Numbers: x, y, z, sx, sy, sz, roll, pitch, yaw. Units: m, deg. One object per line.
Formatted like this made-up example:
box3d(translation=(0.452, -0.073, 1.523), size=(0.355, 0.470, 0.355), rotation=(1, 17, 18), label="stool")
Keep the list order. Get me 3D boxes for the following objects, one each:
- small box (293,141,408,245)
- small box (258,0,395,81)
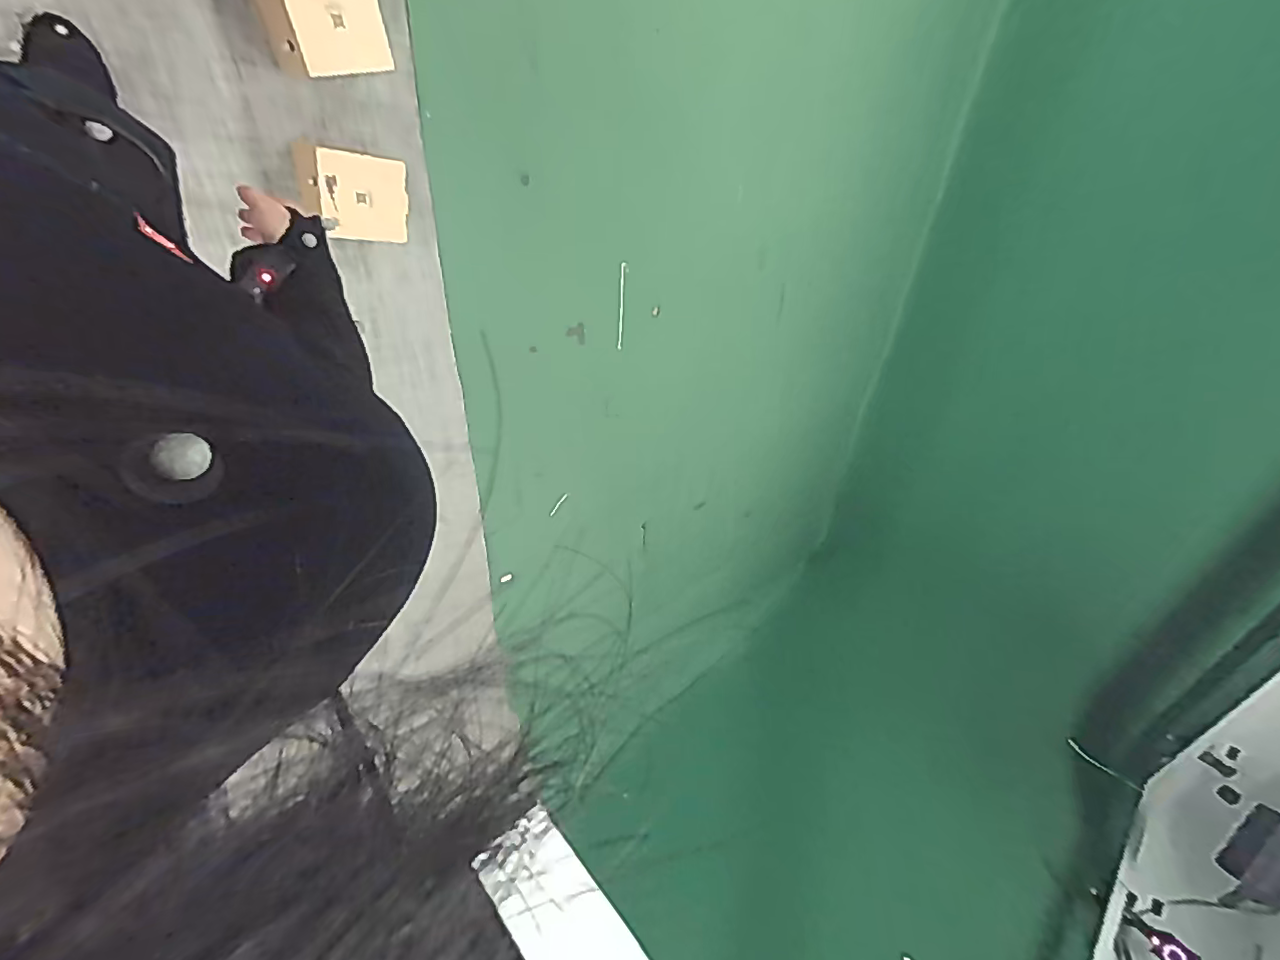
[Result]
box3d(translation=(-0.630, -0.626, 1.183), size=(0.179, 0.176, 0.168), rotation=(-16, 130, -41), label="small box")
box3d(translation=(-0.600, -0.873, 1.022), size=(0.168, 0.176, 0.179), rotation=(-32, 138, -30), label="small box")
